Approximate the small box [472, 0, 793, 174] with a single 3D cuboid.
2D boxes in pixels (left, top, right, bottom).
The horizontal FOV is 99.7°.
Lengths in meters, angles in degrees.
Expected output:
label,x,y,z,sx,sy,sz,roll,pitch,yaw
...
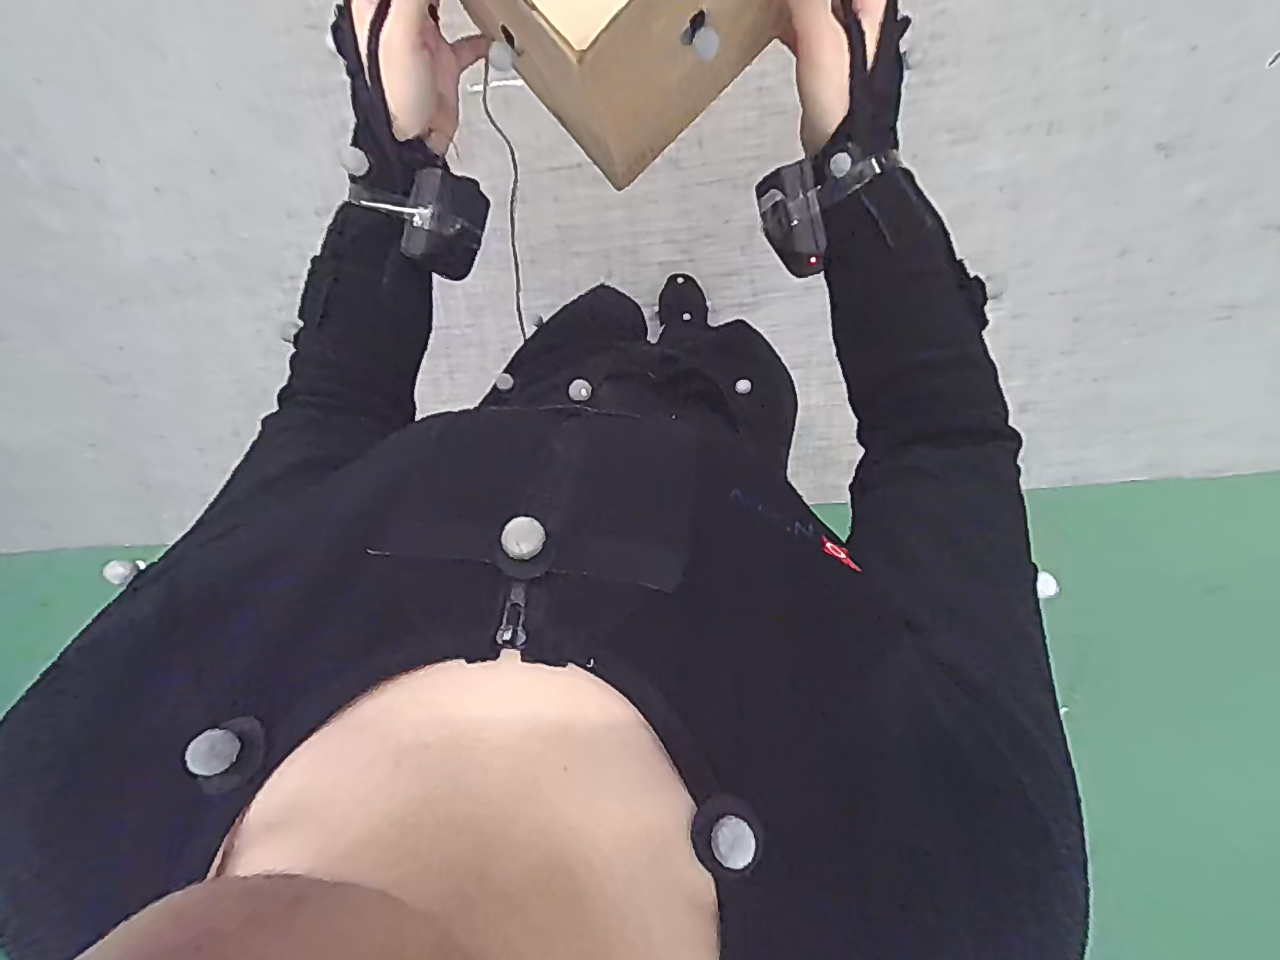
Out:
label,x,y,z,sx,sy,sz,roll,pitch,yaw
small box,-0.011,-0.318,0.303,0.179,0.176,0.168,-42,95,11
